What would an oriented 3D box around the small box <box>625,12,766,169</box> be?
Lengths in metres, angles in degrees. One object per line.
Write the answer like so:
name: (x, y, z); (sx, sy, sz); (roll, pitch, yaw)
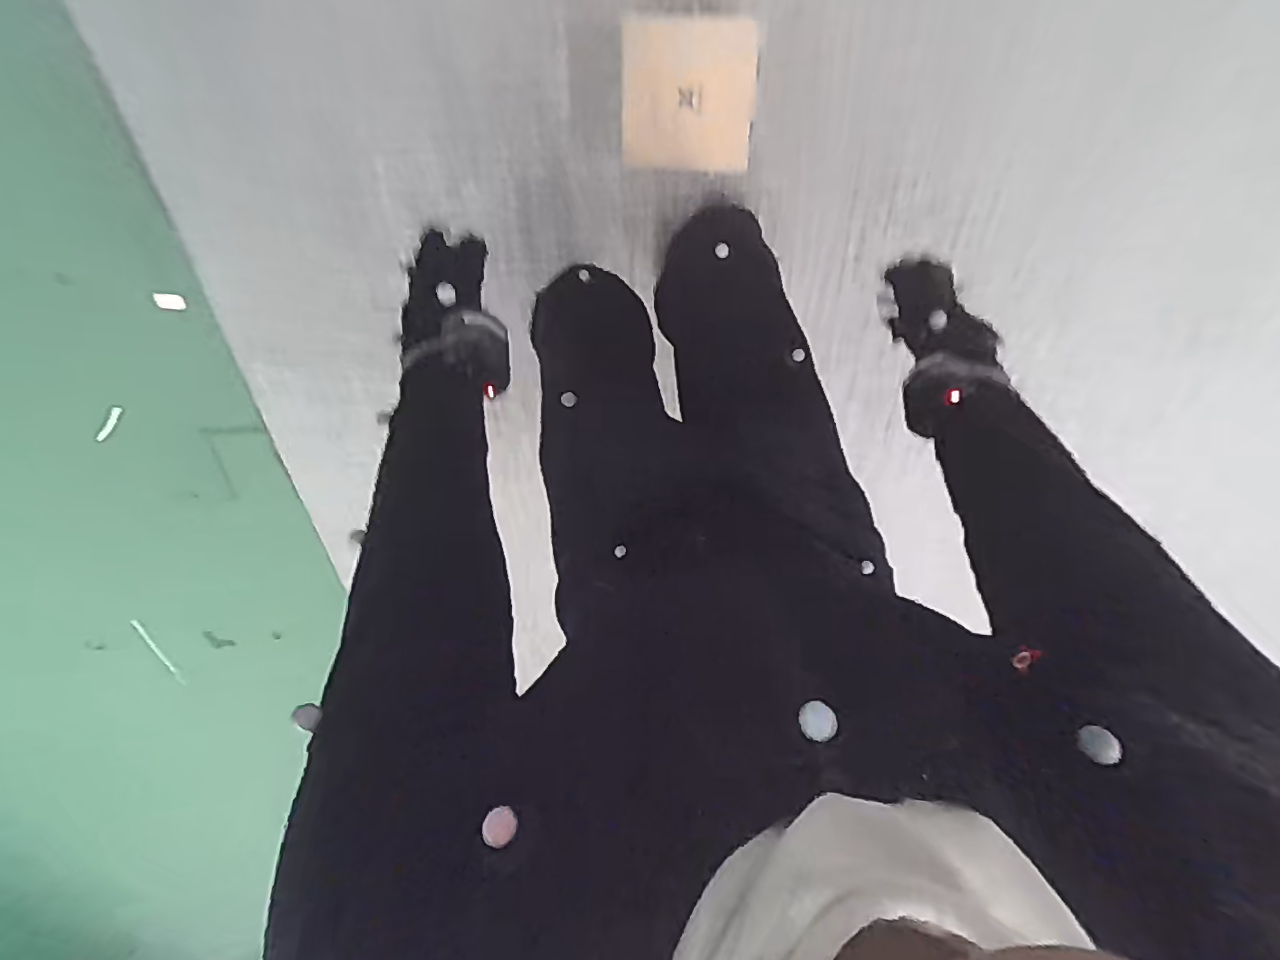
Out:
small box: (0.071, -0.551, 0.774); (0.179, 0.176, 0.168); (3, 125, 2)
